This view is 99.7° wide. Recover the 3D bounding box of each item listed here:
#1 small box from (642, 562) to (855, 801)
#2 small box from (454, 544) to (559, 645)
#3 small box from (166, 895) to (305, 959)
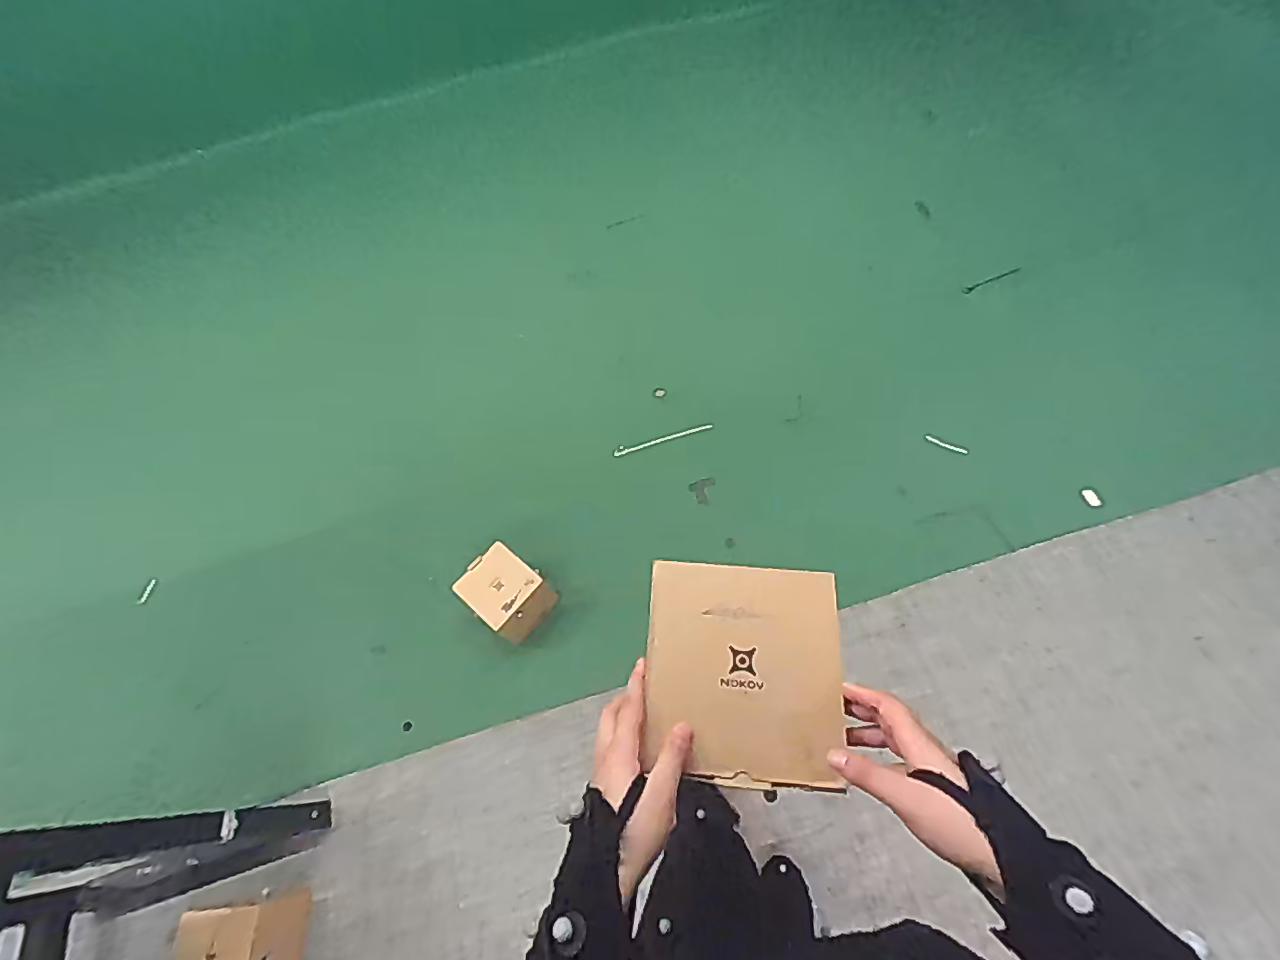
[{"bbox_3d":[0.093,0.194,0.521,0.168,0.176,0.179,5,63,2],"label":"small box"},{"bbox_3d":[-0.340,0.302,1.403,0.179,0.176,0.168,36,71,23],"label":"small box"},{"bbox_3d":[-0.820,0.970,1.096,0.168,0.176,0.179,-6,60,3],"label":"small box"}]
